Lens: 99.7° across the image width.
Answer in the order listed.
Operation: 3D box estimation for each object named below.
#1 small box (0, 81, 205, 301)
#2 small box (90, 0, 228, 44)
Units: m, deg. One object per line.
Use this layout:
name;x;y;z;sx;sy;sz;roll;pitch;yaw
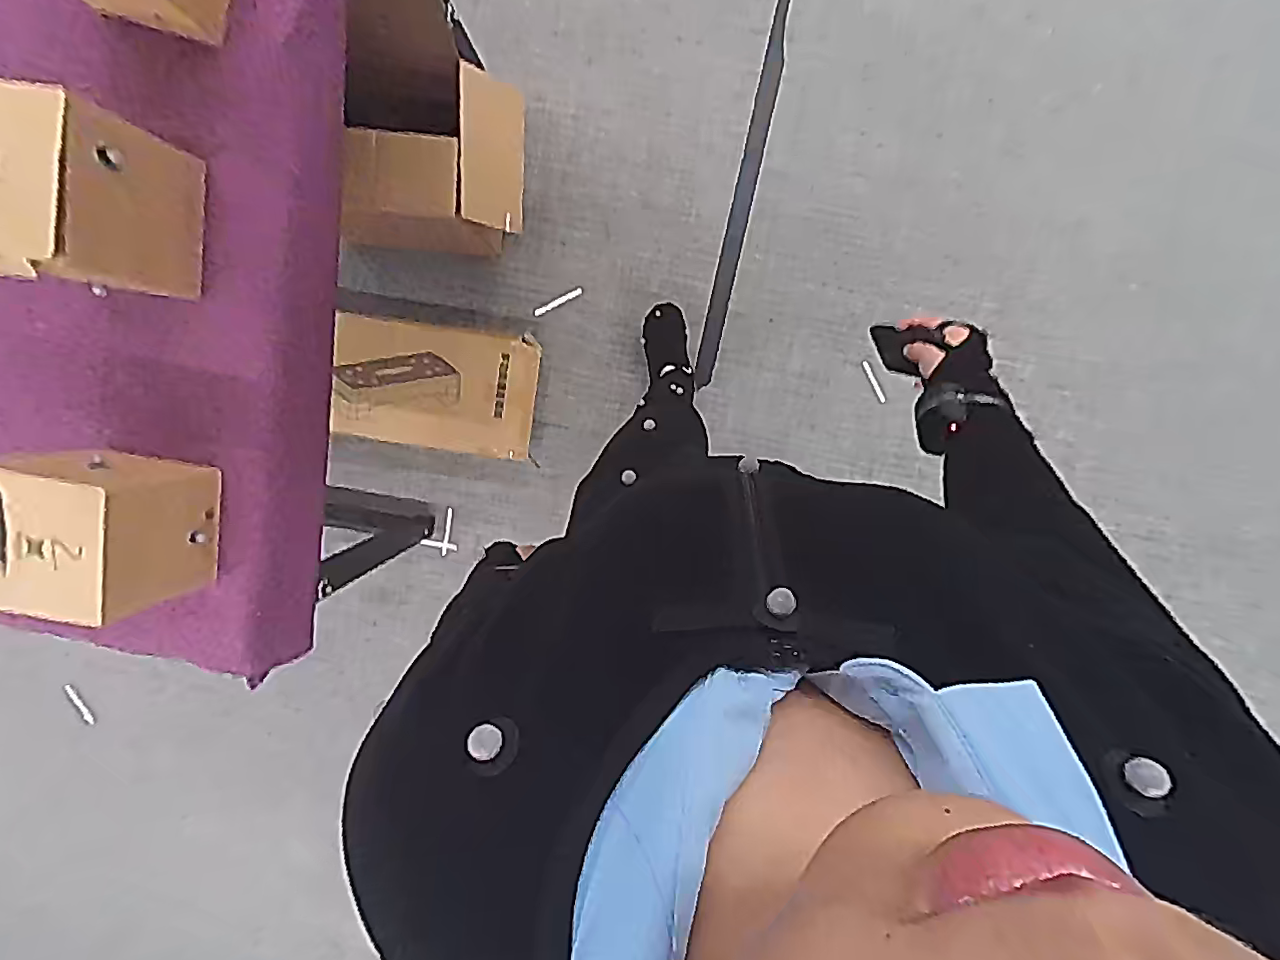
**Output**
small box;-0.651;-0.323;0.627;0.168;0.176;0.179;9;98;3
small box;-0.578;-0.630;0.585;0.168;0.176;0.179;16;97;-1
